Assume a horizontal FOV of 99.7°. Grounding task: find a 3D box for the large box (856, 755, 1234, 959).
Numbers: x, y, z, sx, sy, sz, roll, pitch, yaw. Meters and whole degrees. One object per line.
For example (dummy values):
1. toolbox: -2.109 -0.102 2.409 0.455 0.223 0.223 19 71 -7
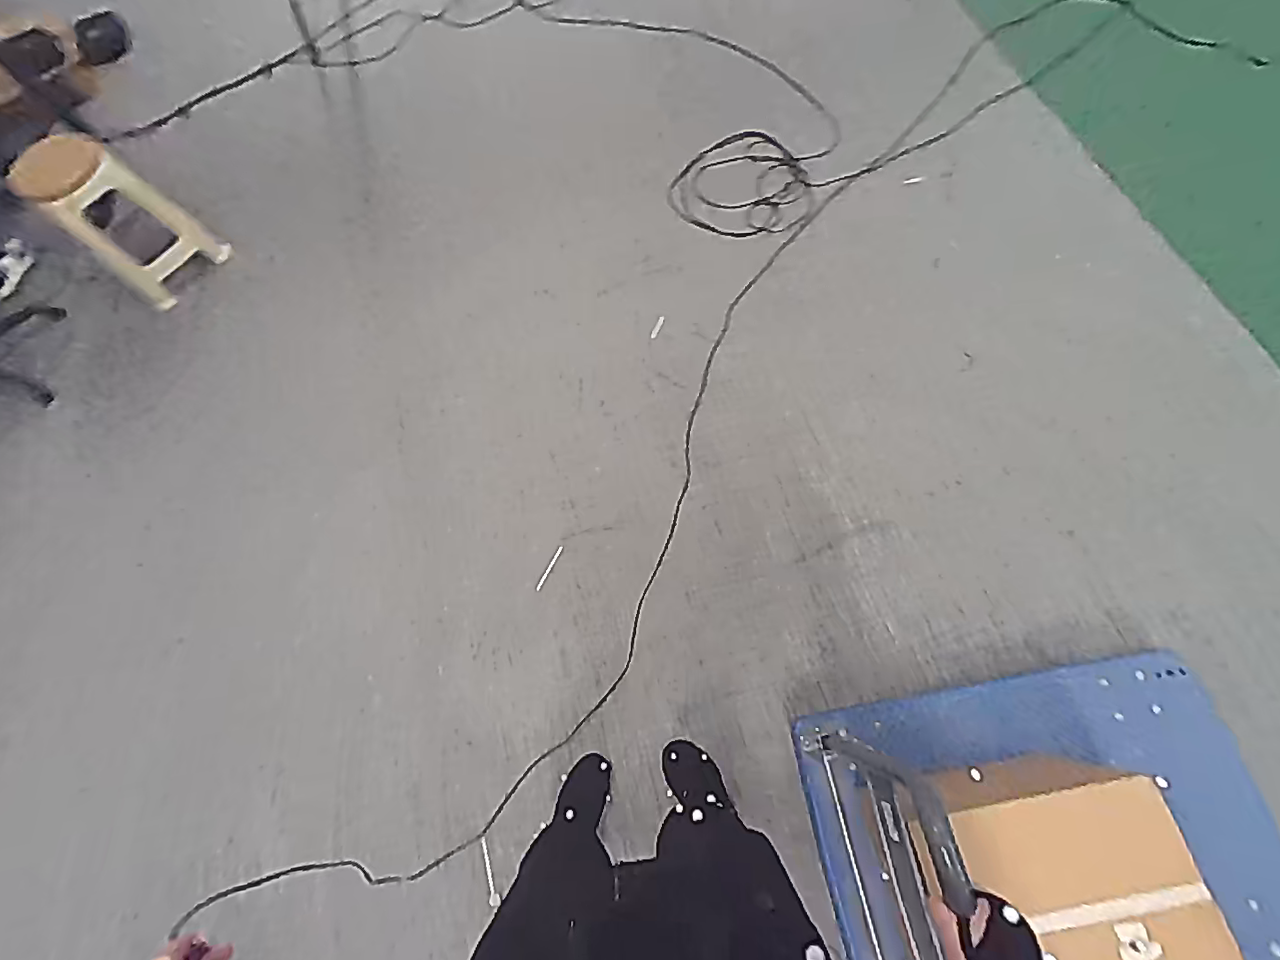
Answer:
1. large box: 0.667 0.710 0.965 0.408 0.320 0.320 -12 69 1
